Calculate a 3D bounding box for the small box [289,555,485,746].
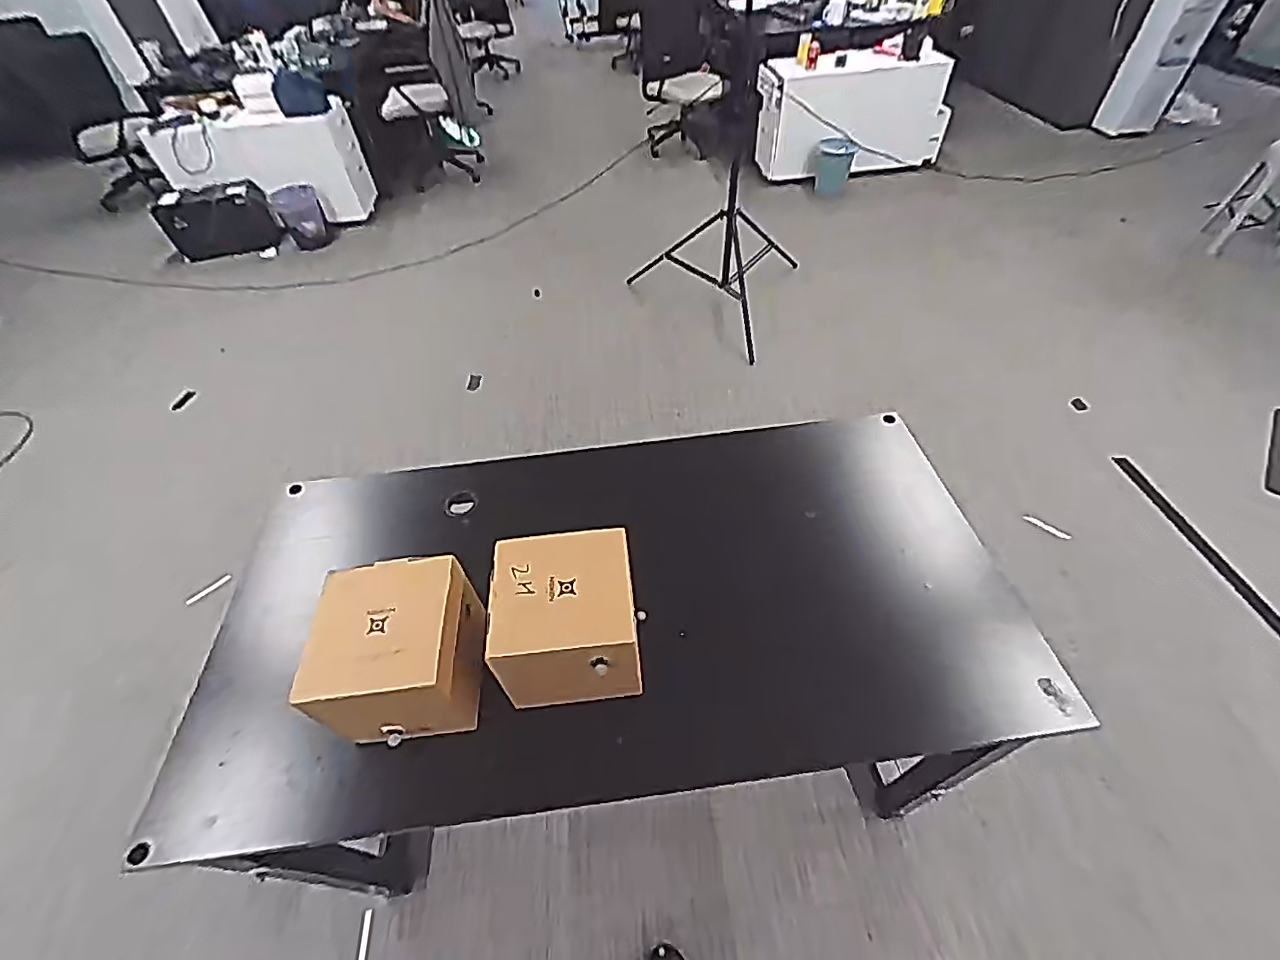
[{"bbox_3d":[-0.308,0.224,0.707,0.168,0.176,0.179,-8,50,-2],"label":"small box"}]
